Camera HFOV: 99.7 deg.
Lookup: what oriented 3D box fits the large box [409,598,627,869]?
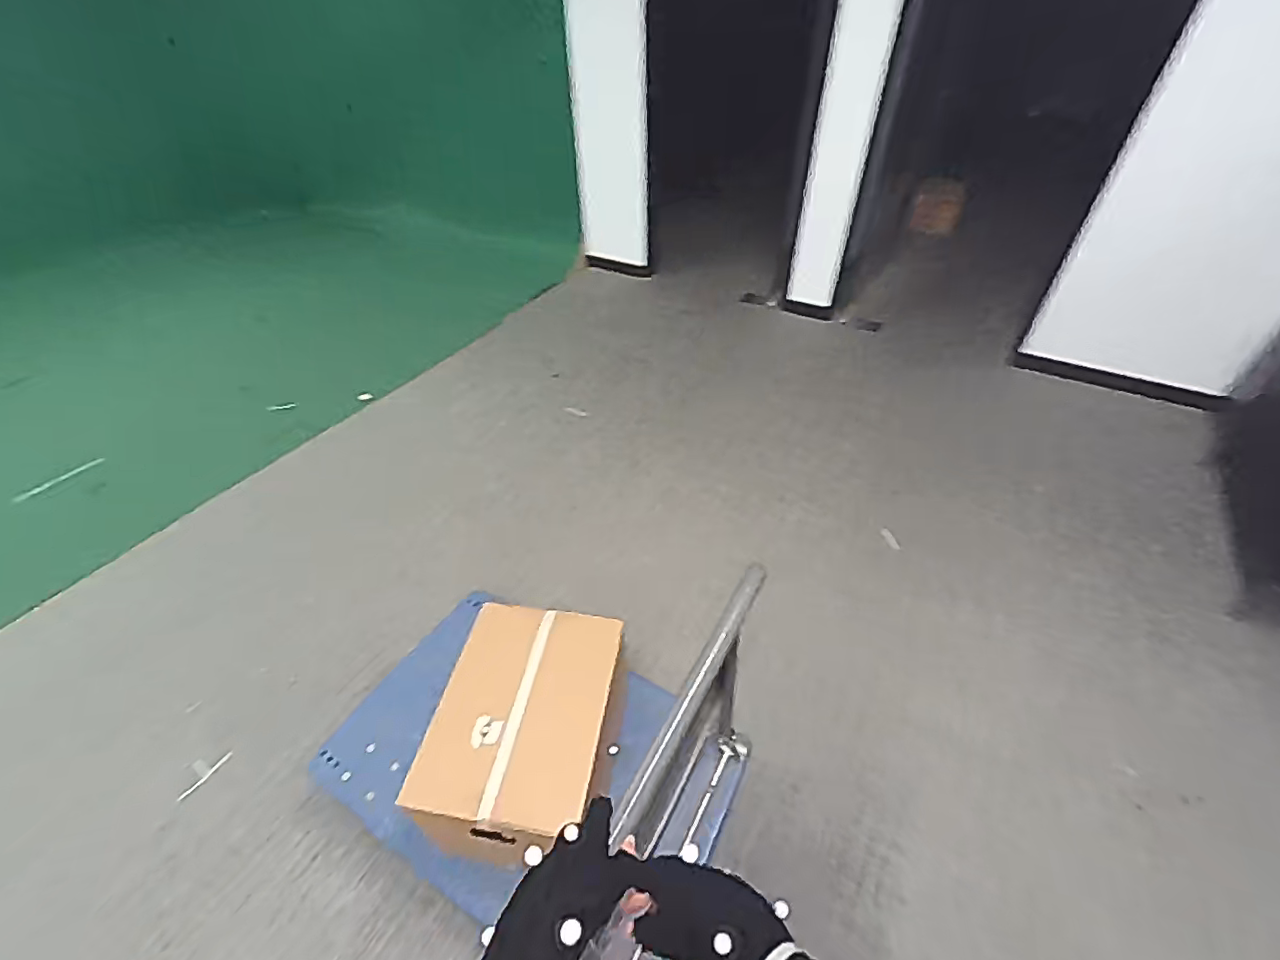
[{"bbox_3d":[-0.209,0.516,1.131,0.320,0.320,0.408,7,45,8],"label":"large box"}]
